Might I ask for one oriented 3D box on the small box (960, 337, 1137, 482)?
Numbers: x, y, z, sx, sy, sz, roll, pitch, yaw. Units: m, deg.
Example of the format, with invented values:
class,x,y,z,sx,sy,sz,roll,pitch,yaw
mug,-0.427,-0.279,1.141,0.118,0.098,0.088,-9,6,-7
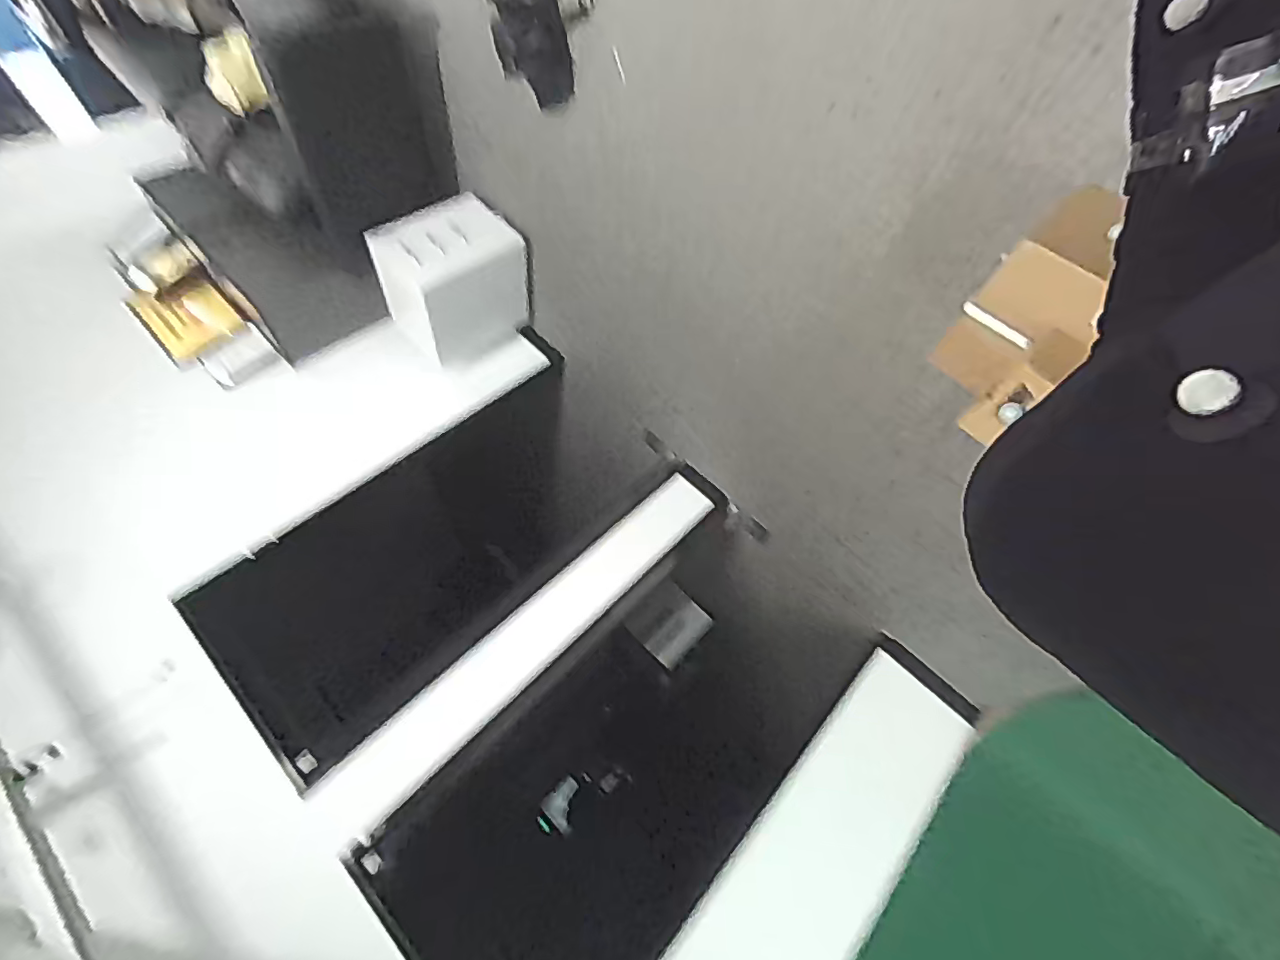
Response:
class,x,y,z,sx,sy,sz,roll,pitch,yaw
small box,0.740,-0.135,0.984,0.179,0.176,0.168,45,149,11
